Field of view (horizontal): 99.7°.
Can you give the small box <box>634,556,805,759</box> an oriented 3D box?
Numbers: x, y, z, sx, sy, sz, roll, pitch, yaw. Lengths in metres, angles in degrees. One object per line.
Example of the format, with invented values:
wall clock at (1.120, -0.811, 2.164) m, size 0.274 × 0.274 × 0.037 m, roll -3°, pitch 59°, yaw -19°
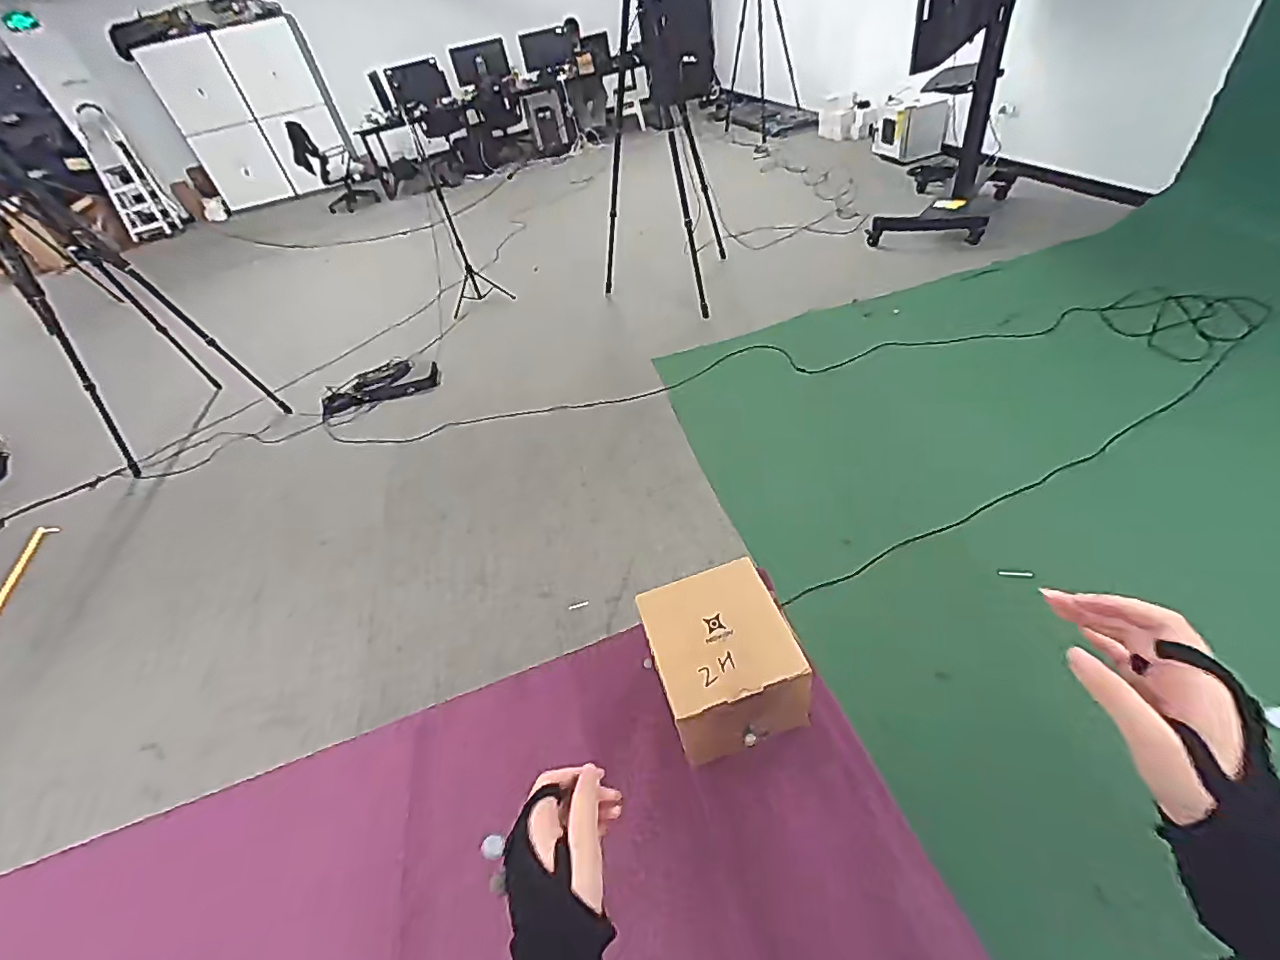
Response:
small box at (0.103, 0.238, 0.726) m, size 0.168 × 0.176 × 0.179 m, roll -19°, pitch 46°, yaw -4°
